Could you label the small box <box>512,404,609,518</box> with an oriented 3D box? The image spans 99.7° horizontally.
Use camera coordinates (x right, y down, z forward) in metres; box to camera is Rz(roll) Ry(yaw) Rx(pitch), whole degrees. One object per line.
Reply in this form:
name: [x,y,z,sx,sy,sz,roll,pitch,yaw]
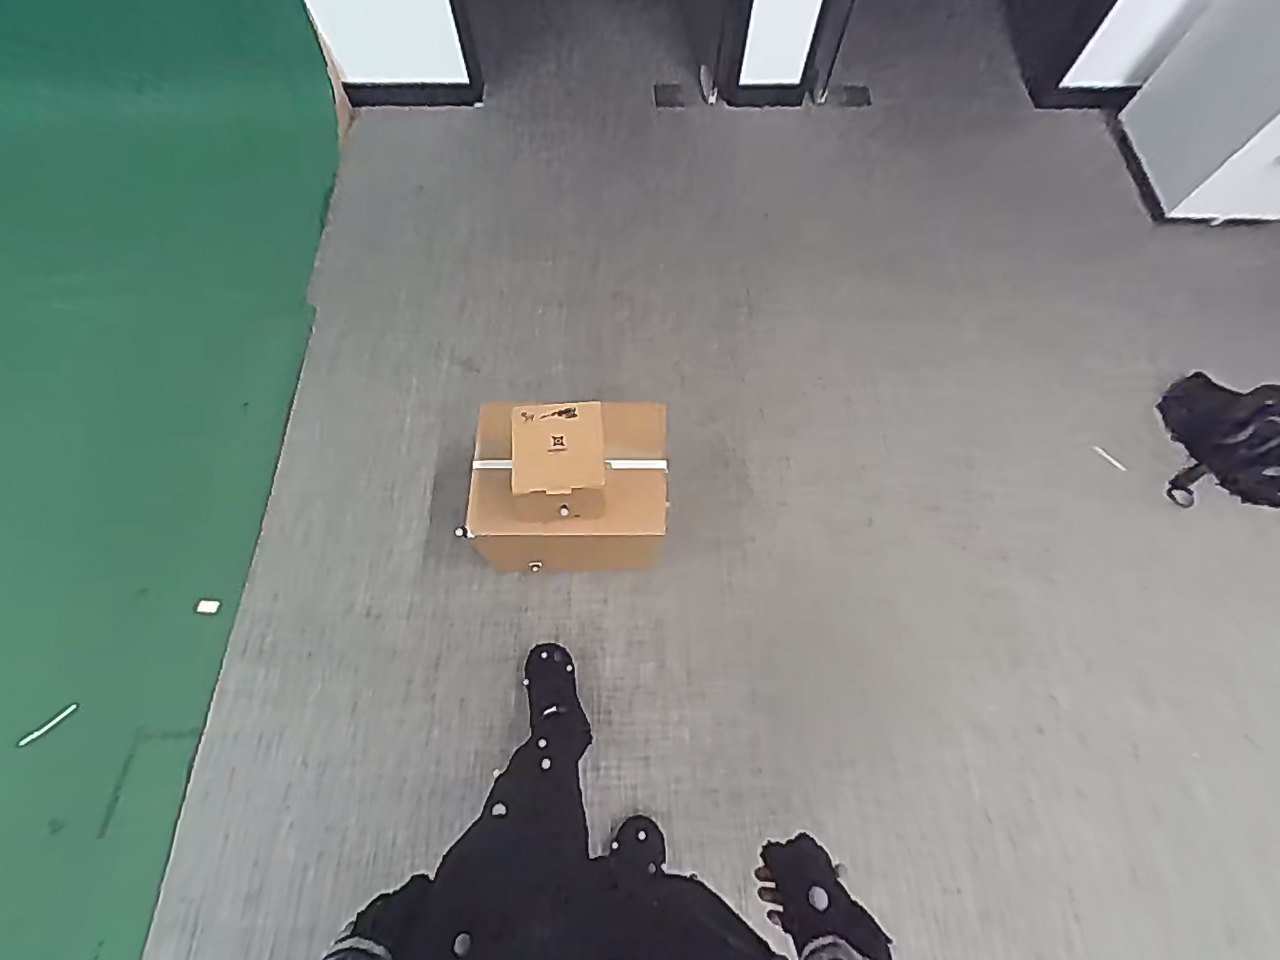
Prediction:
small box: [-0.148,-0.028,1.048,0.168,0.176,0.179,-3,69,-2]
